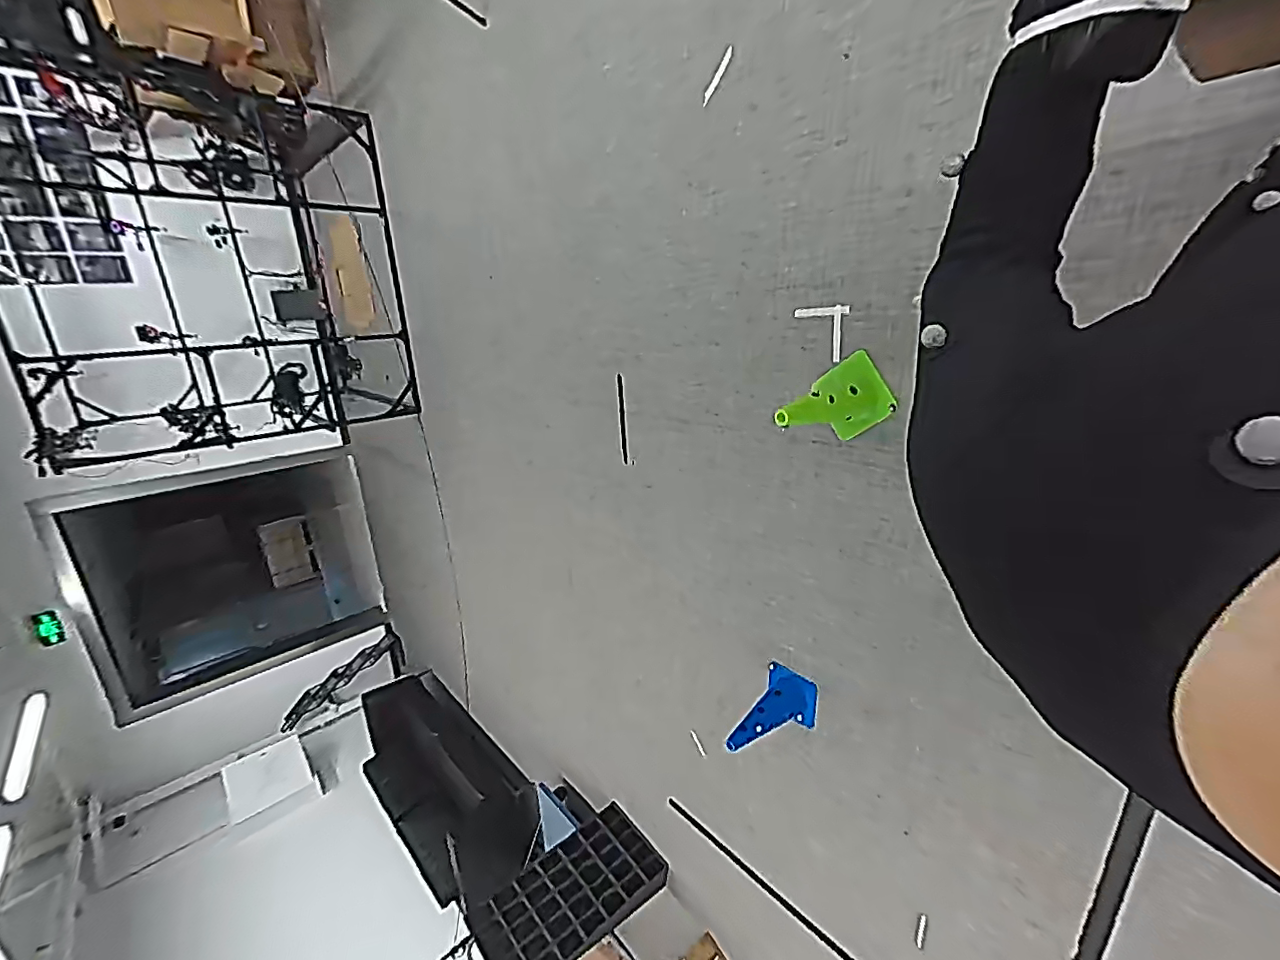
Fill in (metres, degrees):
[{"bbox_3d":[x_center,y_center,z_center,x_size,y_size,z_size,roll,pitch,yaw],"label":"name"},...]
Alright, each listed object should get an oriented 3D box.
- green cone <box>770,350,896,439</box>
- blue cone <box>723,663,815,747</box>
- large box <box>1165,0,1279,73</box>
[{"bbox_3d":[0.474,-0.199,1.438,0.202,0.368,0.200,-41,71,51],"label":"green cone"},{"bbox_3d":[0.436,0.831,1.905,0.192,0.380,0.193,22,120,45],"label":"blue cone"},{"bbox_3d":[0.539,-0.453,0.237,0.408,0.320,0.320,14,118,45],"label":"large box"}]
